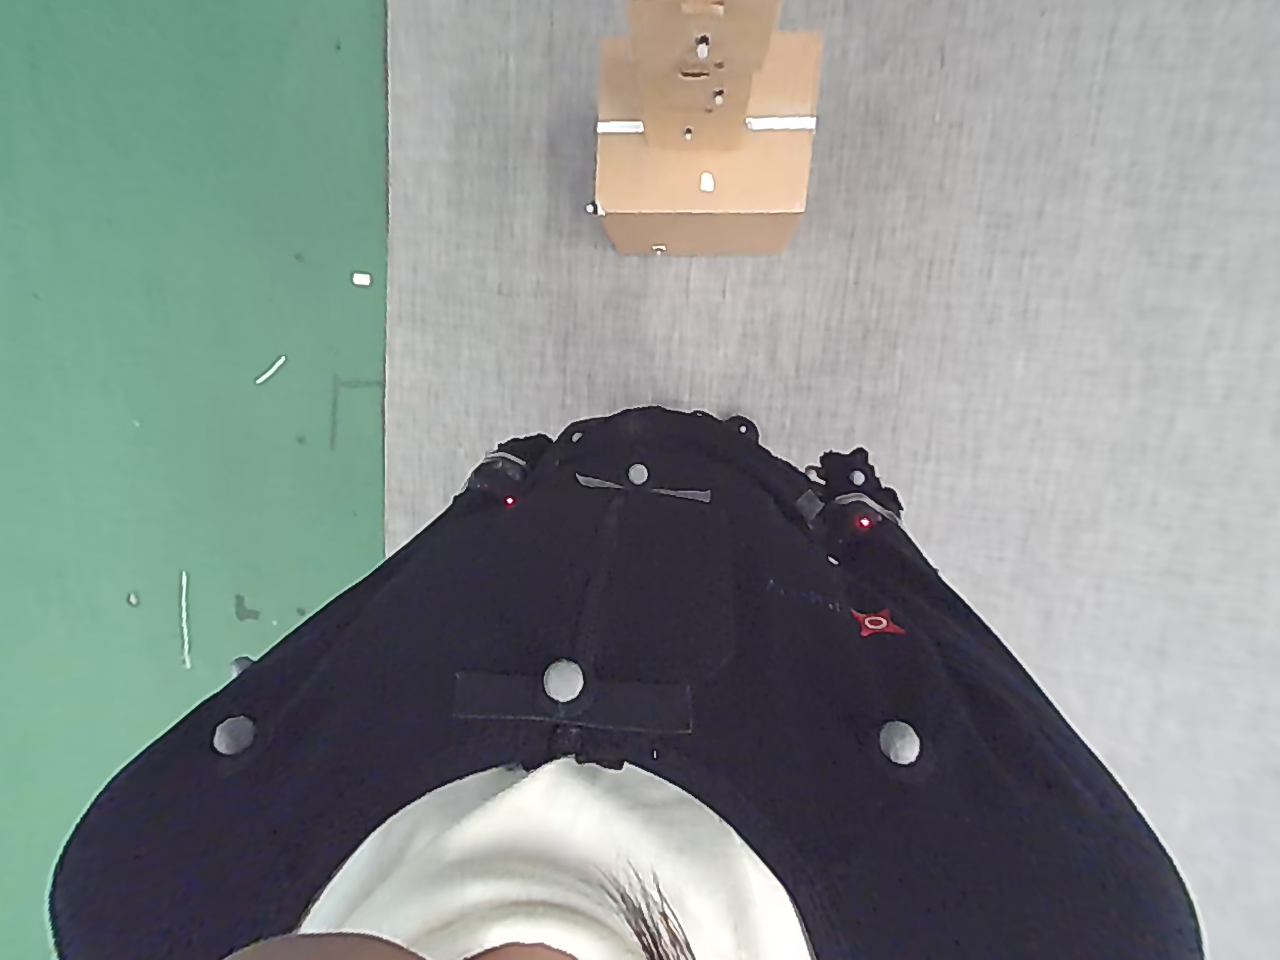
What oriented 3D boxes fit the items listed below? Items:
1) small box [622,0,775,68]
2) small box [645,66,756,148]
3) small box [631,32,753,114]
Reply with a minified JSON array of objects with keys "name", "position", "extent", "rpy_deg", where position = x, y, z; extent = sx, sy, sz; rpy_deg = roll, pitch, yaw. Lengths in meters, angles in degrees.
[{"name":"small box","position":[0.075,-0.600,0.613],"extent":[0.168,0.176,0.179],"rpy_deg":[4,105,6]},{"name":"small box","position":[0.104,-0.687,0.925],"extent":[0.179,0.176,0.168],"rpy_deg":[3,105,7]},{"name":"small box","position":[0.083,-0.648,0.769],"extent":[0.168,0.176,0.179],"rpy_deg":[3,103,6]}]
